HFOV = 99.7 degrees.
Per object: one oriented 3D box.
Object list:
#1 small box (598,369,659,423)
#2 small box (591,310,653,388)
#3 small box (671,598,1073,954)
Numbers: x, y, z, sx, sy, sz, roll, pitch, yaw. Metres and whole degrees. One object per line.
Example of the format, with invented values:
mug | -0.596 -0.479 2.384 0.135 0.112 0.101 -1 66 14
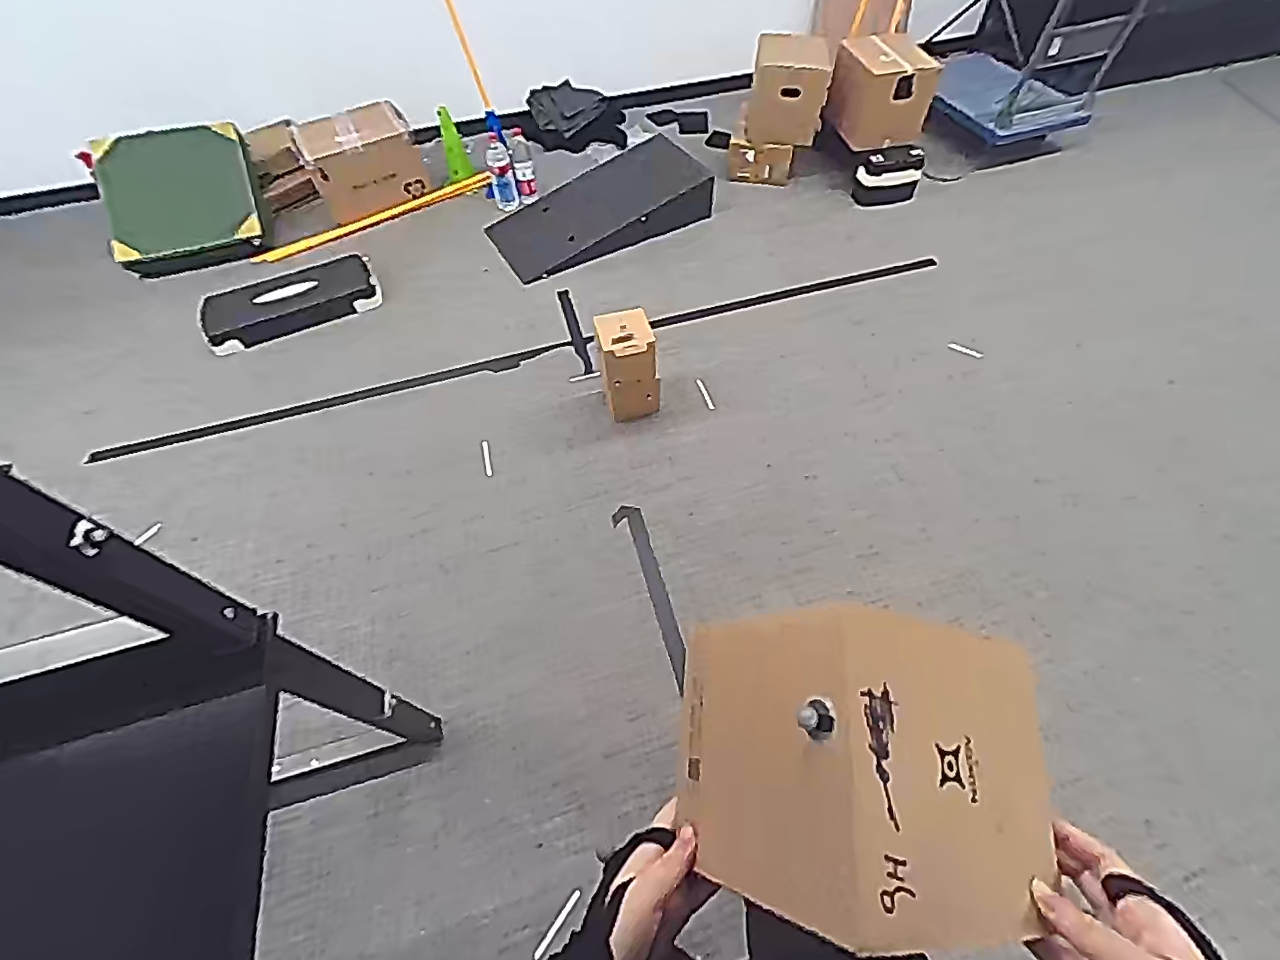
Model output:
small box | -0.043 -0.325 1.877 0.179 0.176 0.168 -16 56 -8
small box | -0.055 -0.413 1.739 0.168 0.176 0.179 -13 55 -8
small box | 0.144 0.191 0.374 0.179 0.176 0.168 19 62 -23
